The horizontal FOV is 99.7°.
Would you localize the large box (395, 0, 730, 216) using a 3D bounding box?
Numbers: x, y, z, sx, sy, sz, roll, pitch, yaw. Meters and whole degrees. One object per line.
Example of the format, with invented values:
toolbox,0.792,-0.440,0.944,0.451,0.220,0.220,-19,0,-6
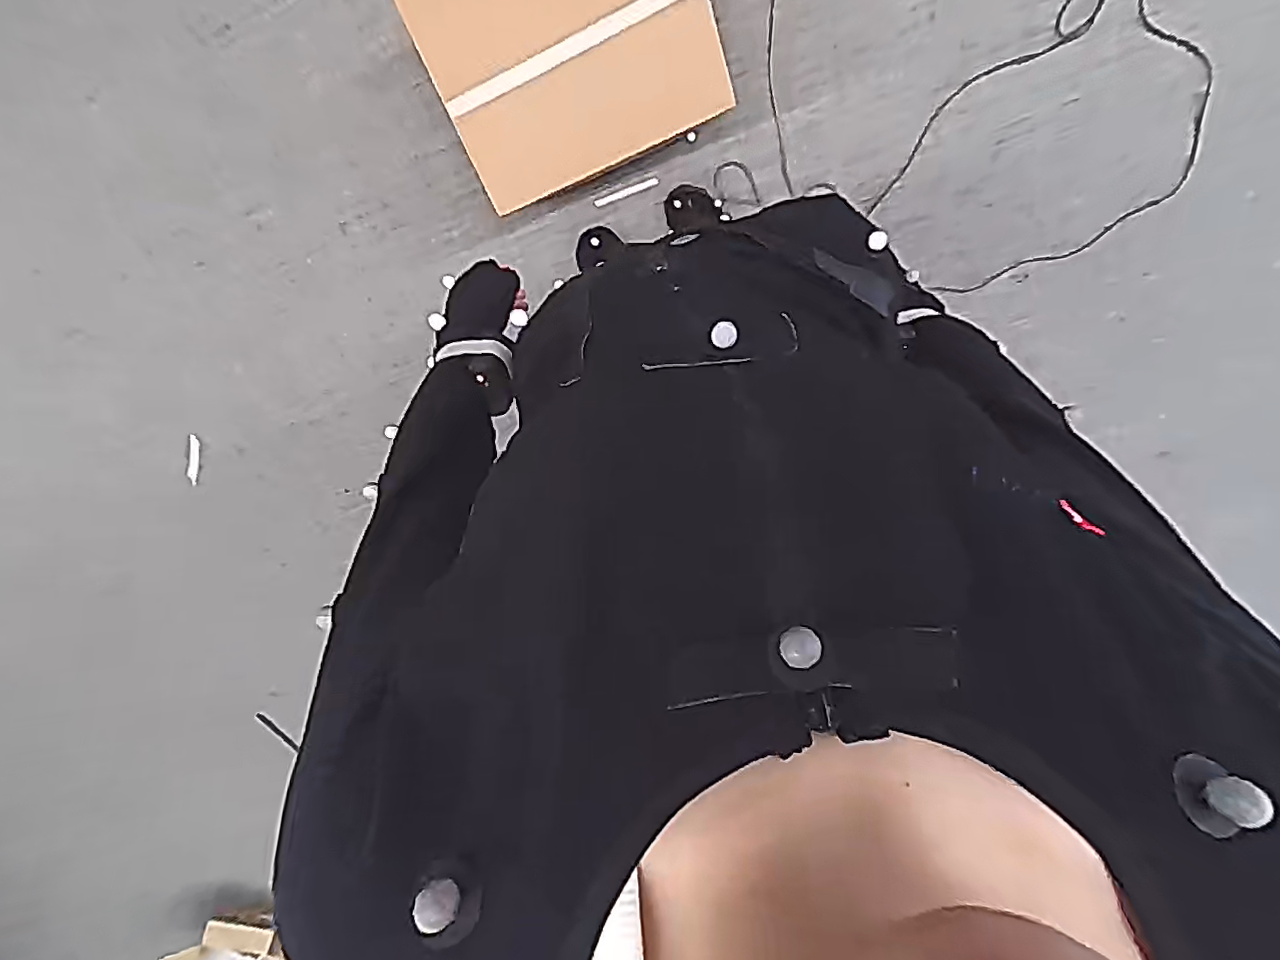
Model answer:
large box,-0.102,-0.695,0.902,0.408,0.320,0.320,-19,118,11
